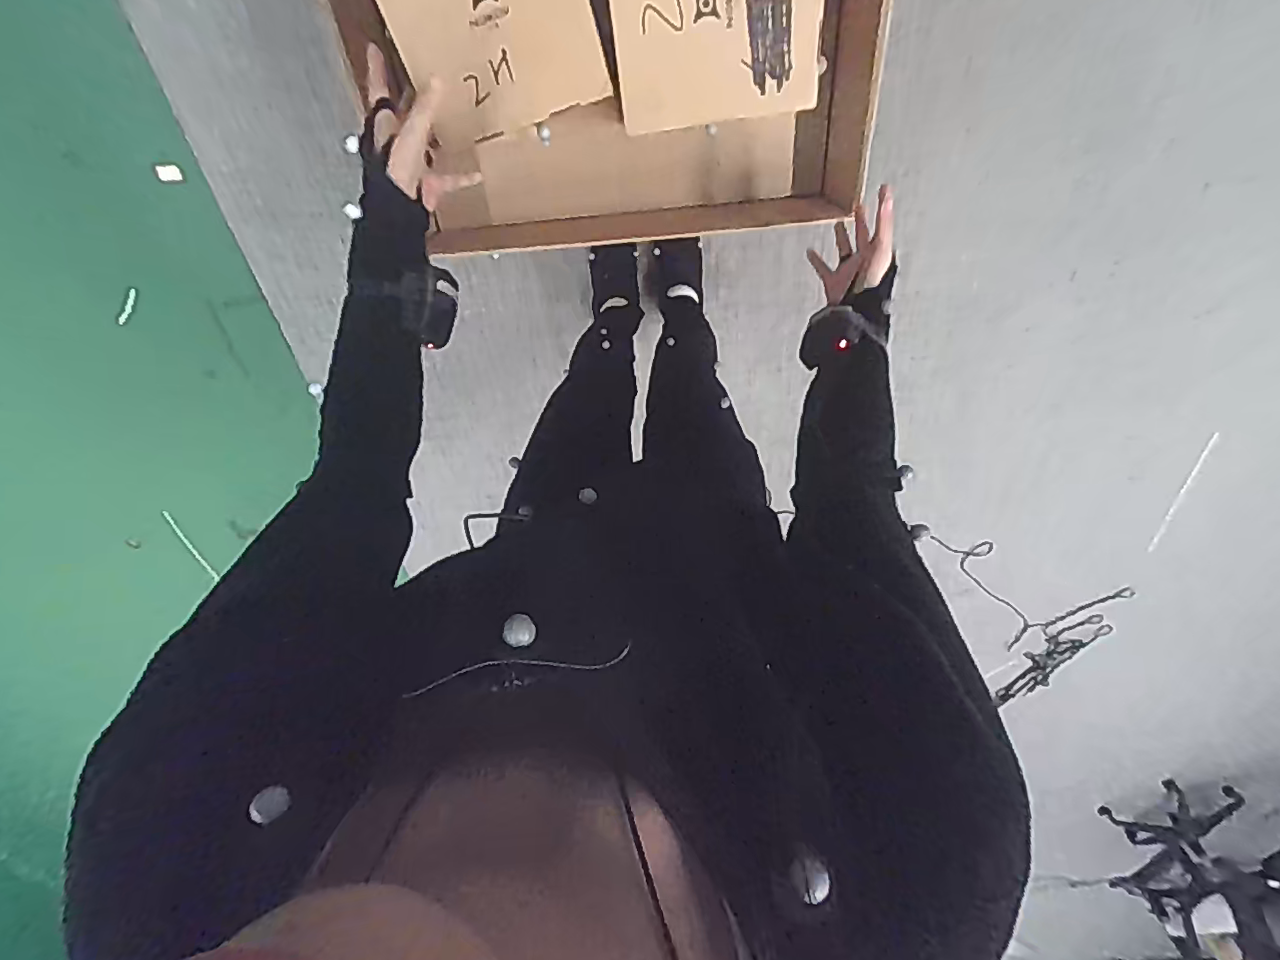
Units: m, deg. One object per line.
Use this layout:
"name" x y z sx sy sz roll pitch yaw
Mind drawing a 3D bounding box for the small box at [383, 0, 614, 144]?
"small box" -0.126 -0.435 0.501 0.168 0.176 0.179 -14 124 8
